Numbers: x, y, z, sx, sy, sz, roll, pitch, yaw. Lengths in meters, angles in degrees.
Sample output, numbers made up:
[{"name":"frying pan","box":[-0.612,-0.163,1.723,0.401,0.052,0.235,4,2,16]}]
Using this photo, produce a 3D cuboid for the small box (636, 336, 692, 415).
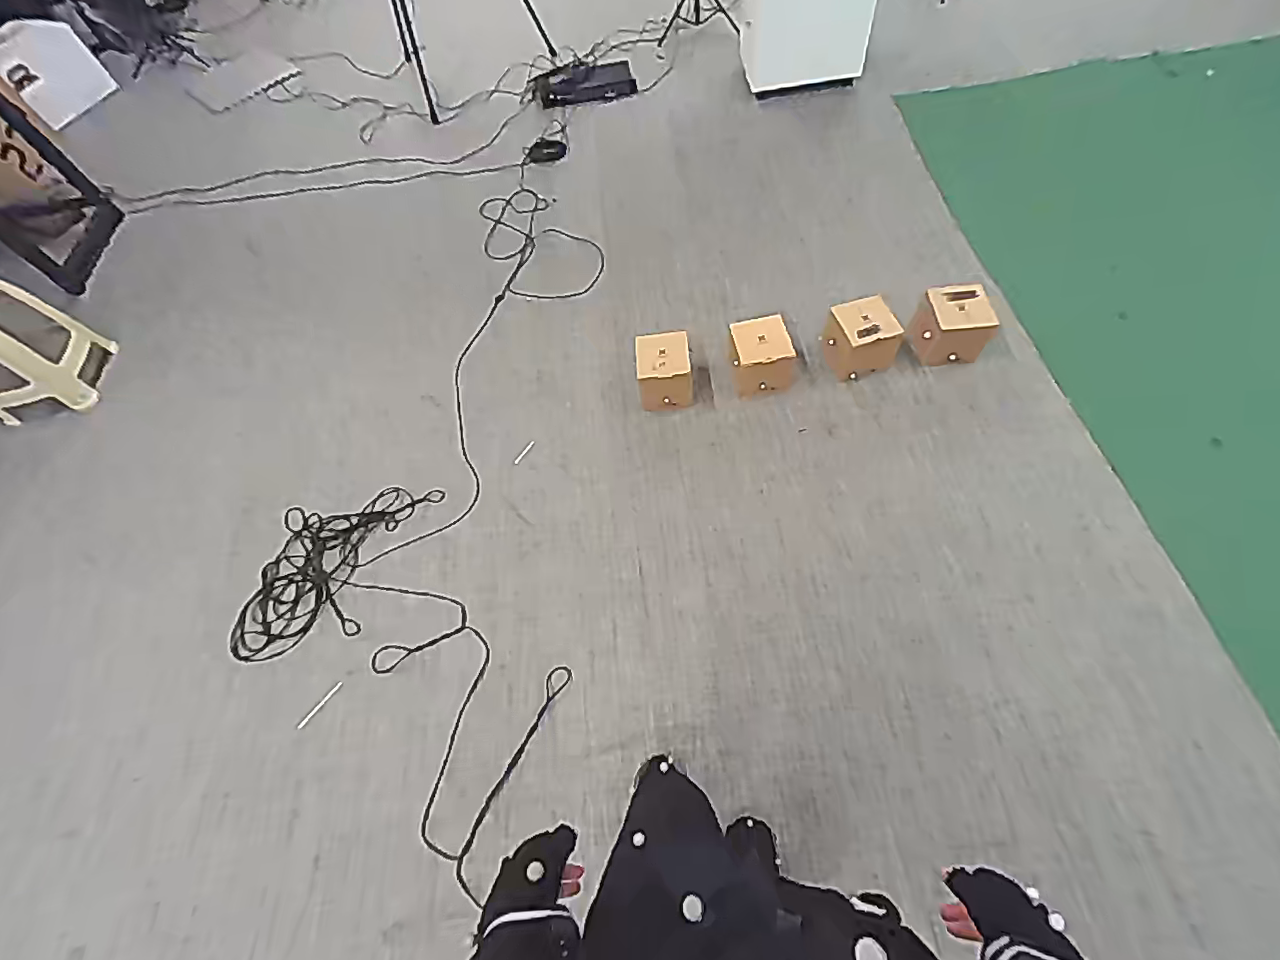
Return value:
[{"name":"small box","box":[0.077,-0.334,1.742,0.168,0.176,0.179,-6,60,5]}]

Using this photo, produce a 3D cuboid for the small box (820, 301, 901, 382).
[{"name":"small box","box":[0.693,-0.431,1.721,0.168,0.176,0.179,-14,59,-2]}]

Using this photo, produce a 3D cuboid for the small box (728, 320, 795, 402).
[{"name":"small box","box":[0.380,-0.376,1.729,0.168,0.176,0.179,-11,61,1]}]
